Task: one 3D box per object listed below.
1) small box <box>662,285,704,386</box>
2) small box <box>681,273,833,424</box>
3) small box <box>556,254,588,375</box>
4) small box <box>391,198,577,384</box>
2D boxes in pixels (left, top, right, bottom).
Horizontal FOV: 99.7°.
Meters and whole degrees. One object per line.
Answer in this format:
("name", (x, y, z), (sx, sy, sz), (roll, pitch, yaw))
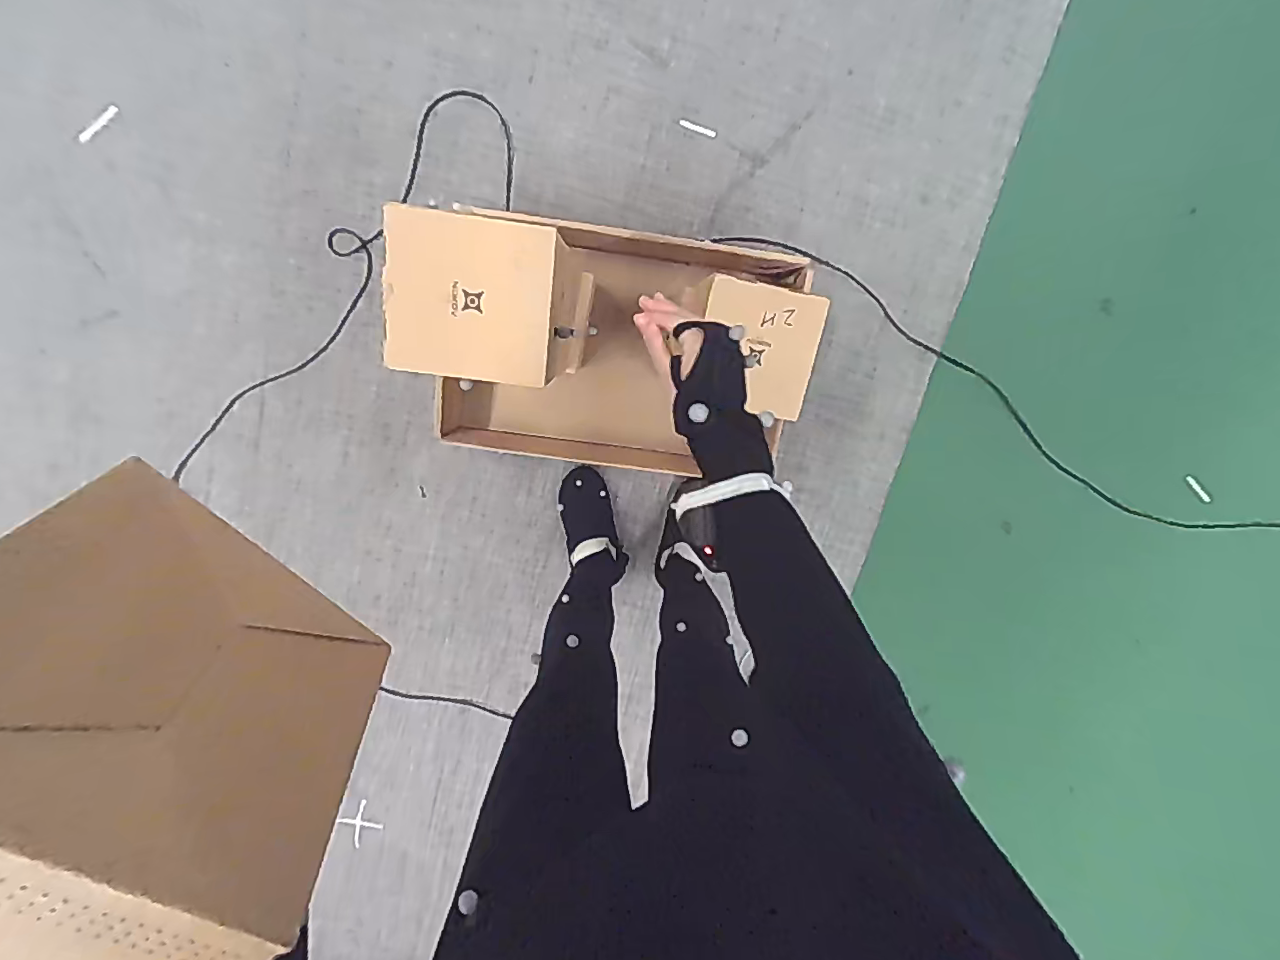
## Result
("small box", (0.143, -0.241, 0.983), (0.179, 0.176, 0.168), (12, 103, -5))
("small box", (0.163, -0.197, 0.825), (0.168, 0.176, 0.179), (12, 103, -6))
("small box", (-0.180, -0.258, 0.798), (0.179, 0.176, 0.168), (12, 105, -6))
("small box", (-0.173, -0.216, 0.642), (0.179, 0.176, 0.168), (8, 106, -3))
